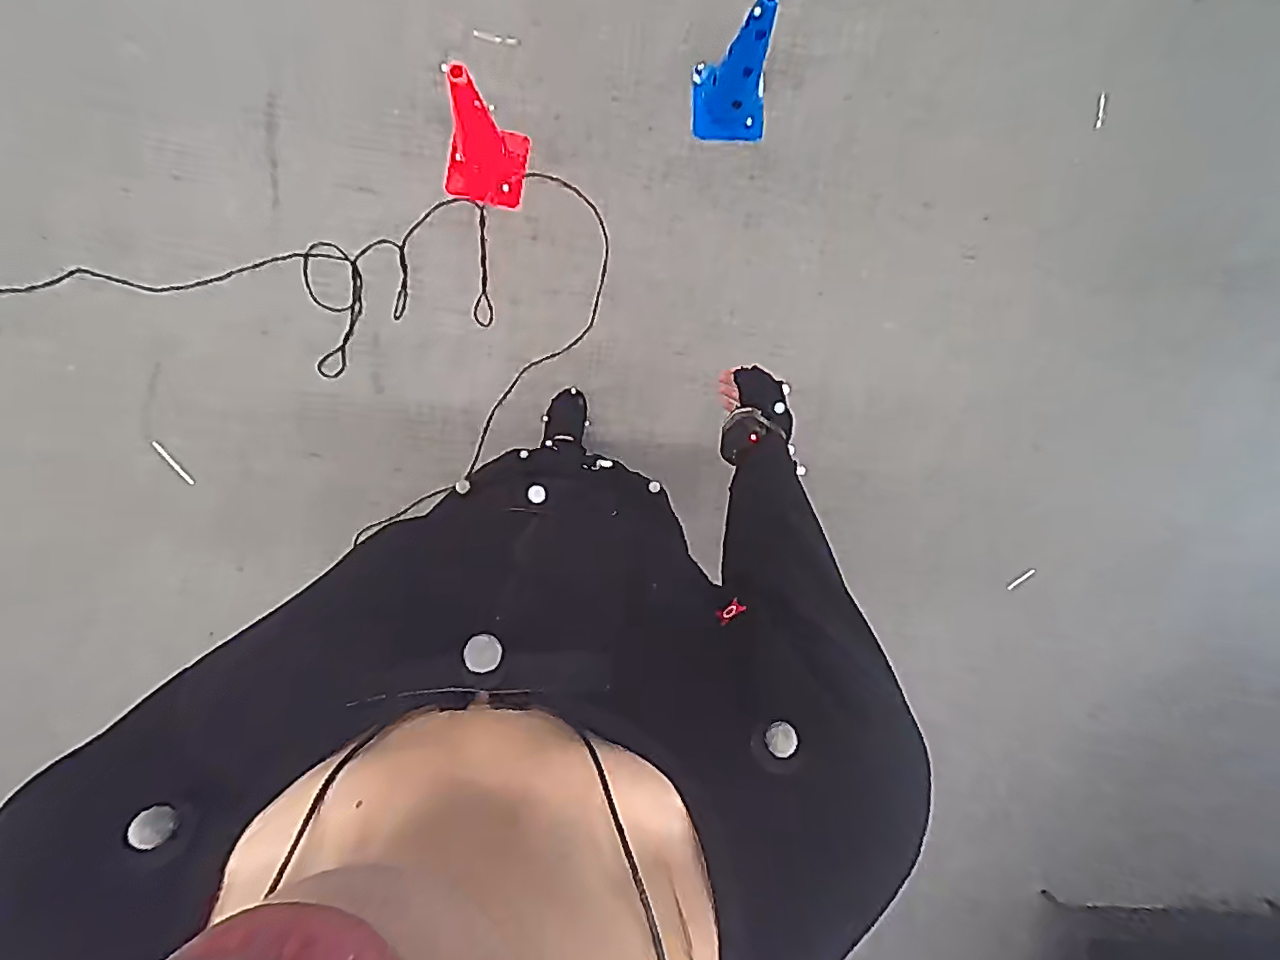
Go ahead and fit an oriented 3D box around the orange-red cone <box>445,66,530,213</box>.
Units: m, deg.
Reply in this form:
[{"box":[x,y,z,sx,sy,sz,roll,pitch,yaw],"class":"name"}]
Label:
[{"box":[-0.384,-0.821,1.263,0.198,0.360,0.199,11,89,-7],"class":"orange-red cone"}]
